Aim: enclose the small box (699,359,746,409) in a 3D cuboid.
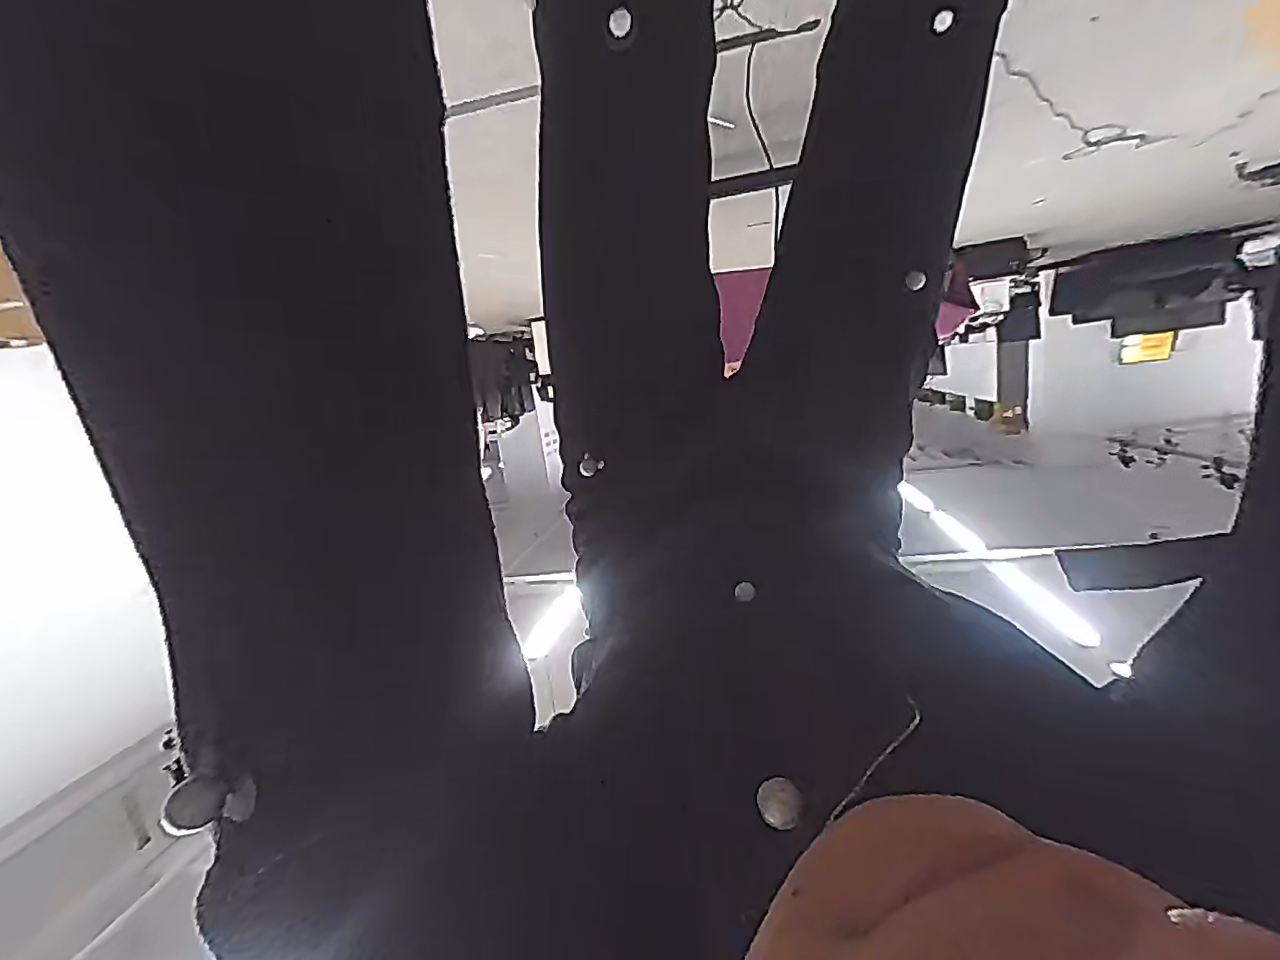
[{"bbox_3d":[0.338,-0.393,2.198,0.168,0.176,0.179,-5,-167,15],"label":"small box"}]
